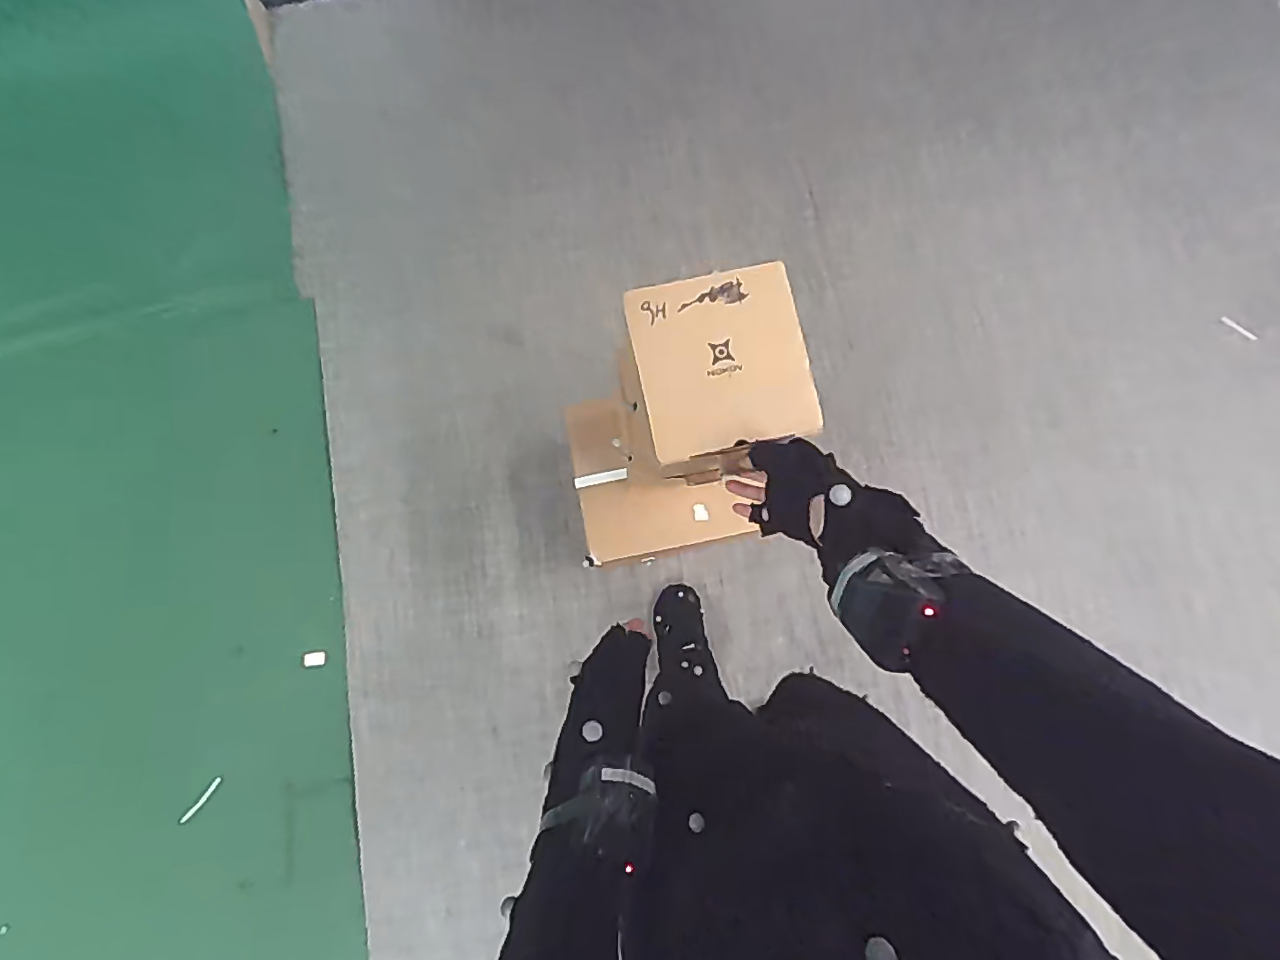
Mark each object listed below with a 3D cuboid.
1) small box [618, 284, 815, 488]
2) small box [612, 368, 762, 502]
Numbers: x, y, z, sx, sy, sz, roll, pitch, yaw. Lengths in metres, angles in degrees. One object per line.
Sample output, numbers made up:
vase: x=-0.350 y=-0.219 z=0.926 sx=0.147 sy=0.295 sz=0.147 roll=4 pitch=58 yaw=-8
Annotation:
small box: x=0.075 y=-0.090 z=0.610 sx=0.168 sy=0.176 sz=0.179 roll=-13 pitch=86 yaw=-2
small box: x=0.060 y=-0.067 z=0.771 sx=0.168 sy=0.176 sz=0.179 roll=-12 pitch=84 yaw=-2
